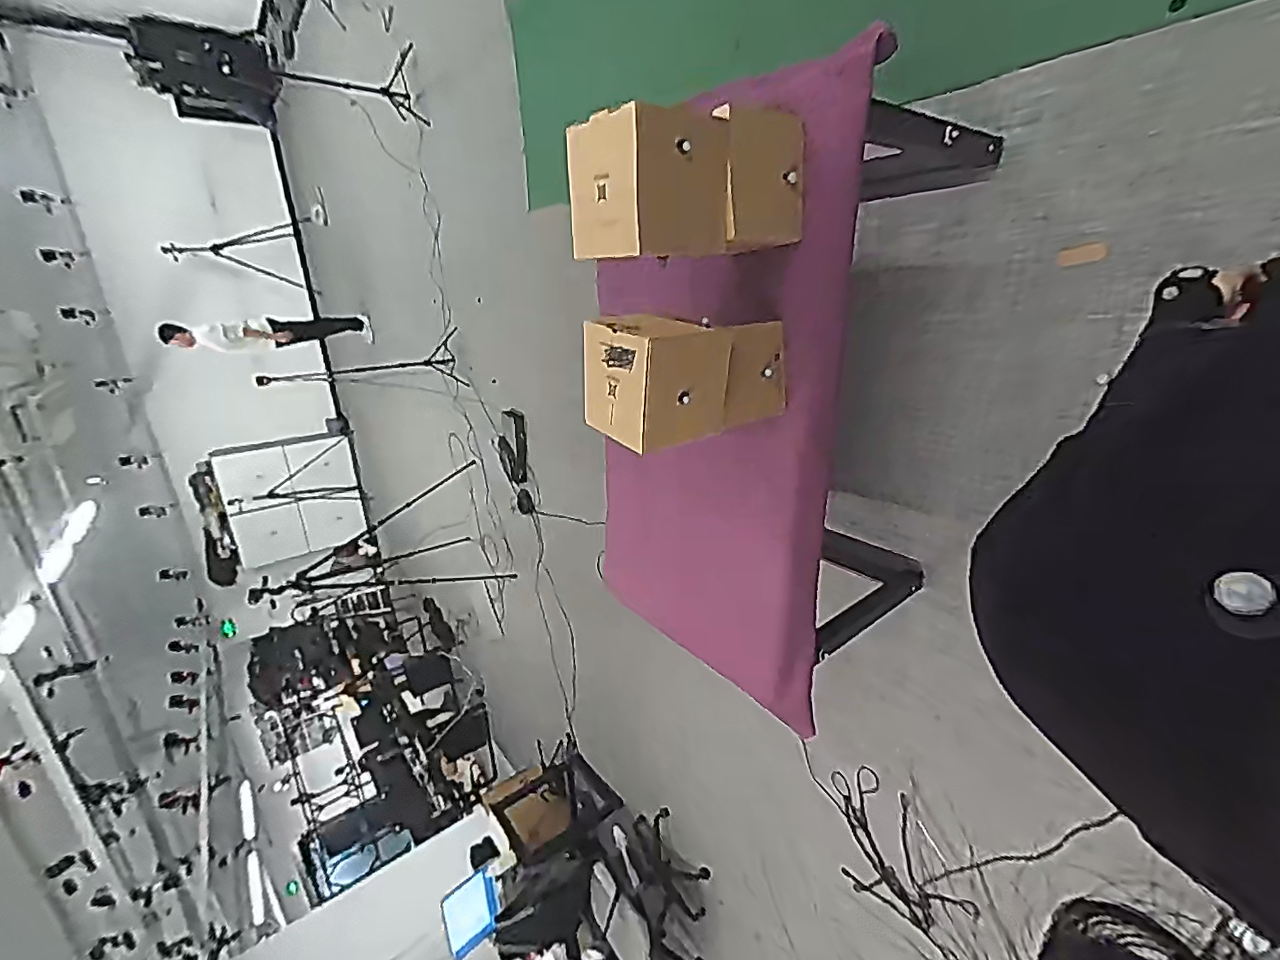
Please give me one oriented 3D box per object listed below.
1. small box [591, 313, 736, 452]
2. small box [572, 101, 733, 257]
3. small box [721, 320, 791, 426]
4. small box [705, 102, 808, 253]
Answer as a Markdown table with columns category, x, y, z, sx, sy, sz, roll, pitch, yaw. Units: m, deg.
| category | x | y | z | sx | sy | sz | roll | pitch | yaw |
| --- | --- | --- | --- | --- | --- | --- | --- | --- | --- |
| small box | 0.036 | -0.168 | 0.876 | 0.168 | 0.176 | 0.179 | 32 | 129 | 45 |
| small box | 0.020 | -0.422 | 0.790 | 0.168 | 0.176 | 0.179 | 24 | 124 | 48 |
| small box | 0.154 | -0.198 | 0.990 | 0.179 | 0.176 | 0.168 | 13 | 115 | 52 |
| small box | 0.154 | -0.471 | 0.872 | 0.168 | 0.176 | 0.179 | 16 | 117 | 51 |
